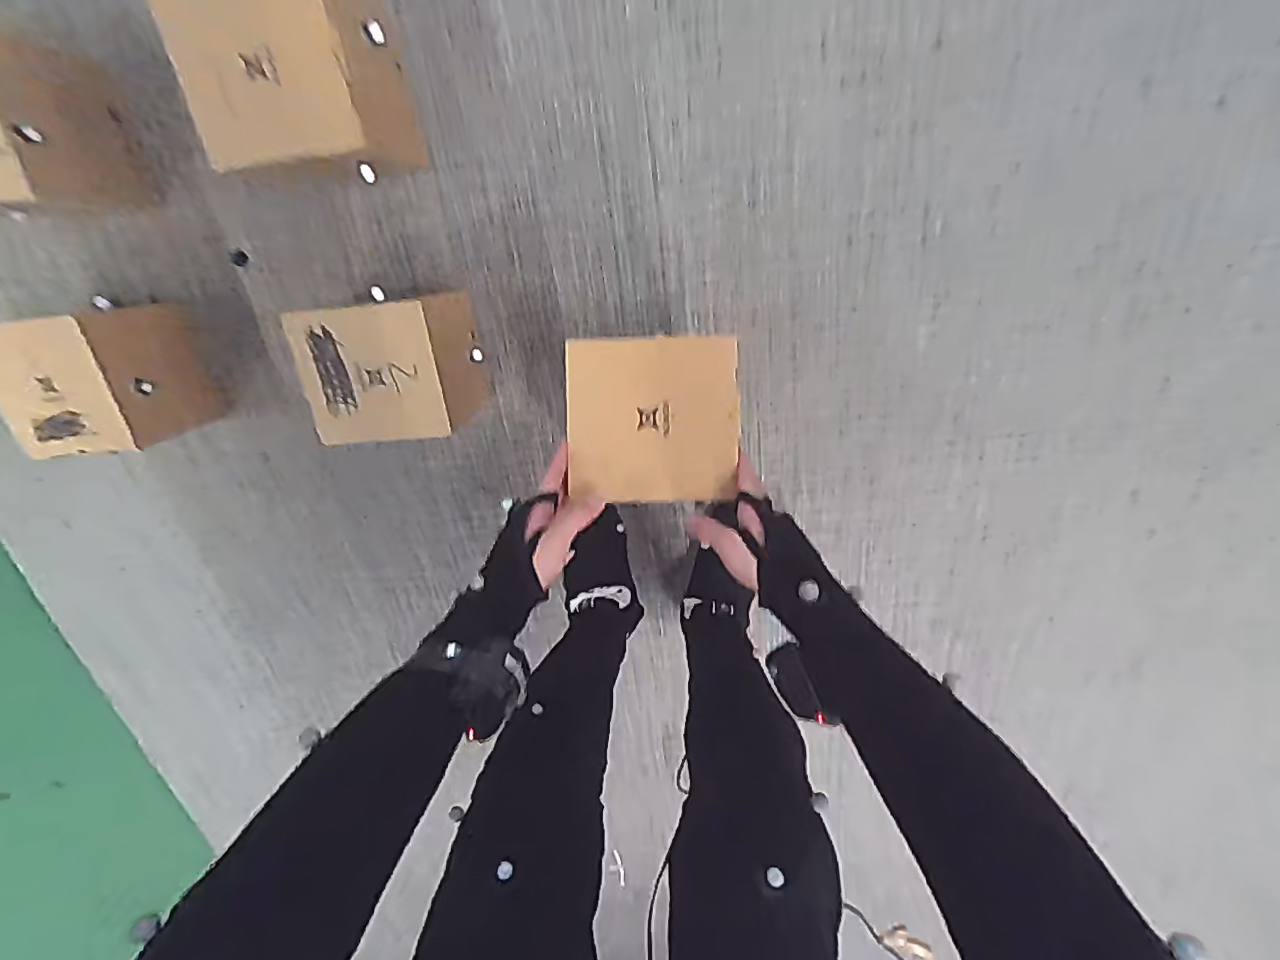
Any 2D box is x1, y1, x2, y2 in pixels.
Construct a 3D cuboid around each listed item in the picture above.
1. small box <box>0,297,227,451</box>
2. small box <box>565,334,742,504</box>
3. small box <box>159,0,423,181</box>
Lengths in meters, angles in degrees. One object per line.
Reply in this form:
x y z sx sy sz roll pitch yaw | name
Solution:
-0.735 -0.153 0.757 0.168 0.176 0.179 -4 112 4 | small box
0.015 -0.058 0.612 0.179 0.176 0.168 -1 87 1 | small box
-0.367 -0.448 0.610 0.179 0.176 0.168 -5 112 6 | small box
